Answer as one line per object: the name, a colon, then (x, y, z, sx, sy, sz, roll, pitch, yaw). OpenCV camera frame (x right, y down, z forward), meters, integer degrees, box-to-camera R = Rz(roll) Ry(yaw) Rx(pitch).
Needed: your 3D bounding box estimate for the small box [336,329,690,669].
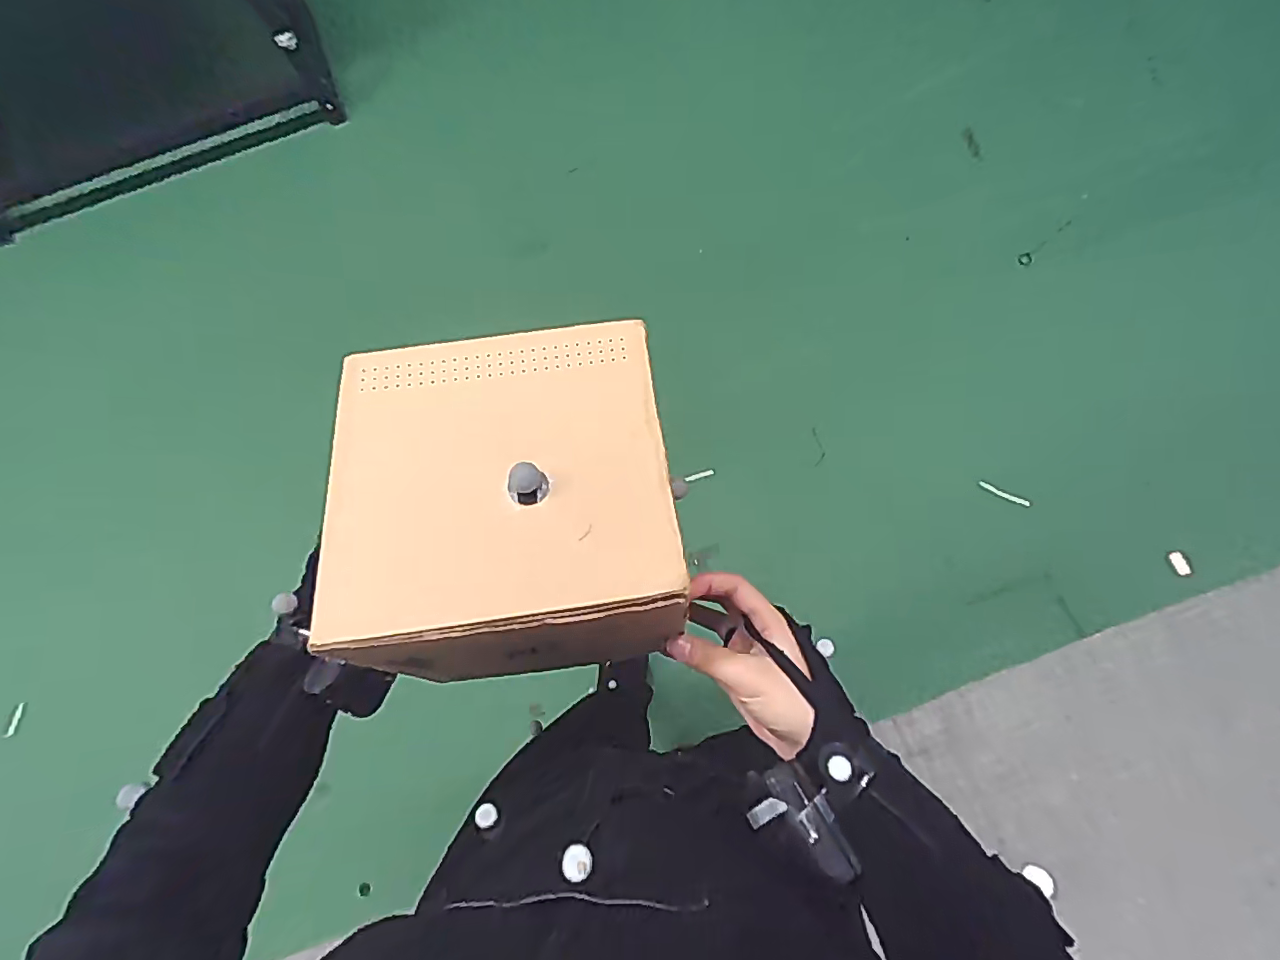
small box: (-0.072, 0.019, 0.364, 0.179, 0.168, 0.176, -9, 64, -2)
